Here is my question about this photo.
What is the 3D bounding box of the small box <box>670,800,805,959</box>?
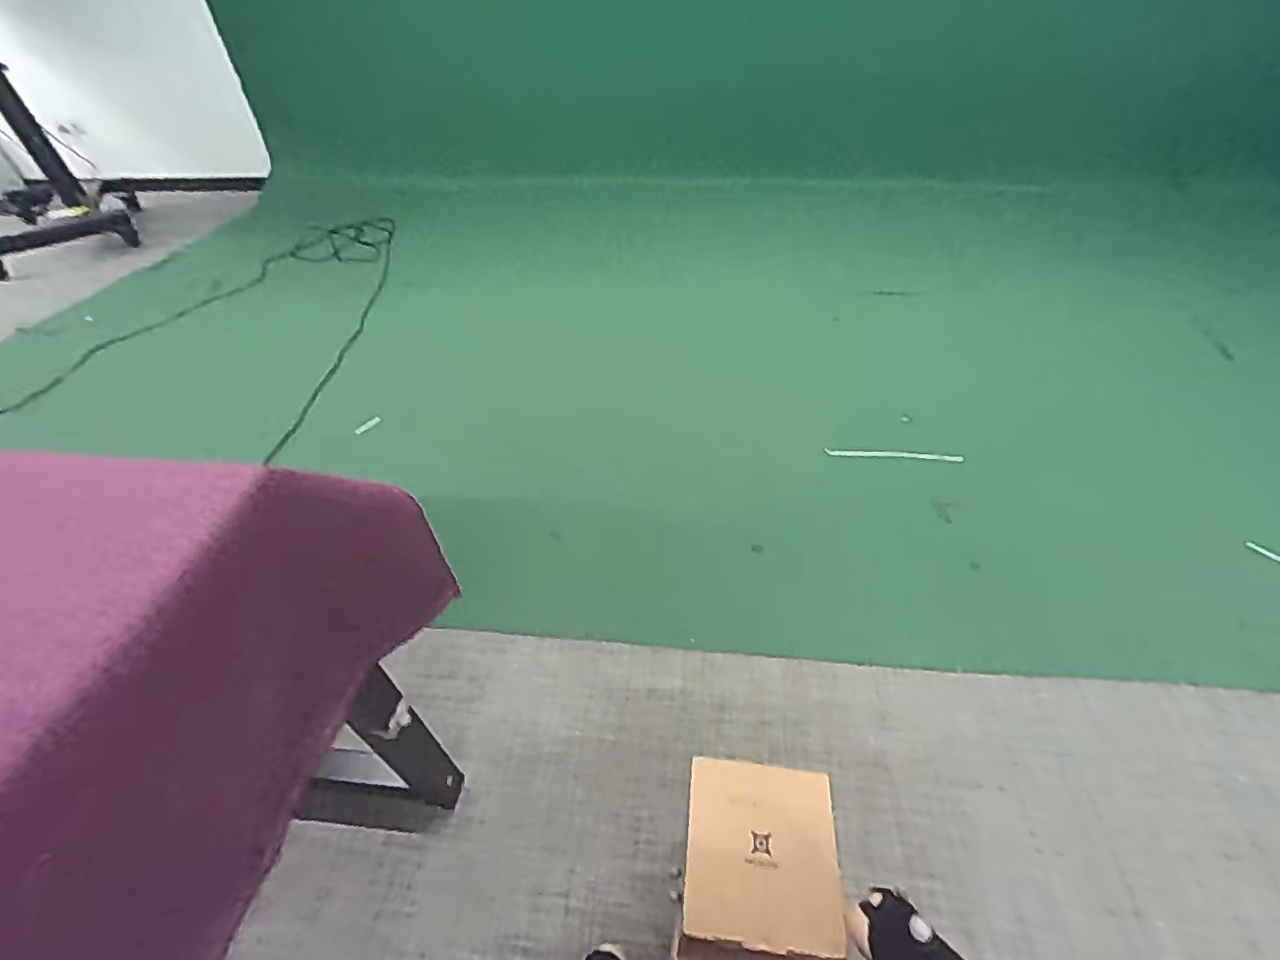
[{"bbox_3d":[0.136,0.589,0.765,0.168,0.176,0.179,6,44,8],"label":"small box"}]
